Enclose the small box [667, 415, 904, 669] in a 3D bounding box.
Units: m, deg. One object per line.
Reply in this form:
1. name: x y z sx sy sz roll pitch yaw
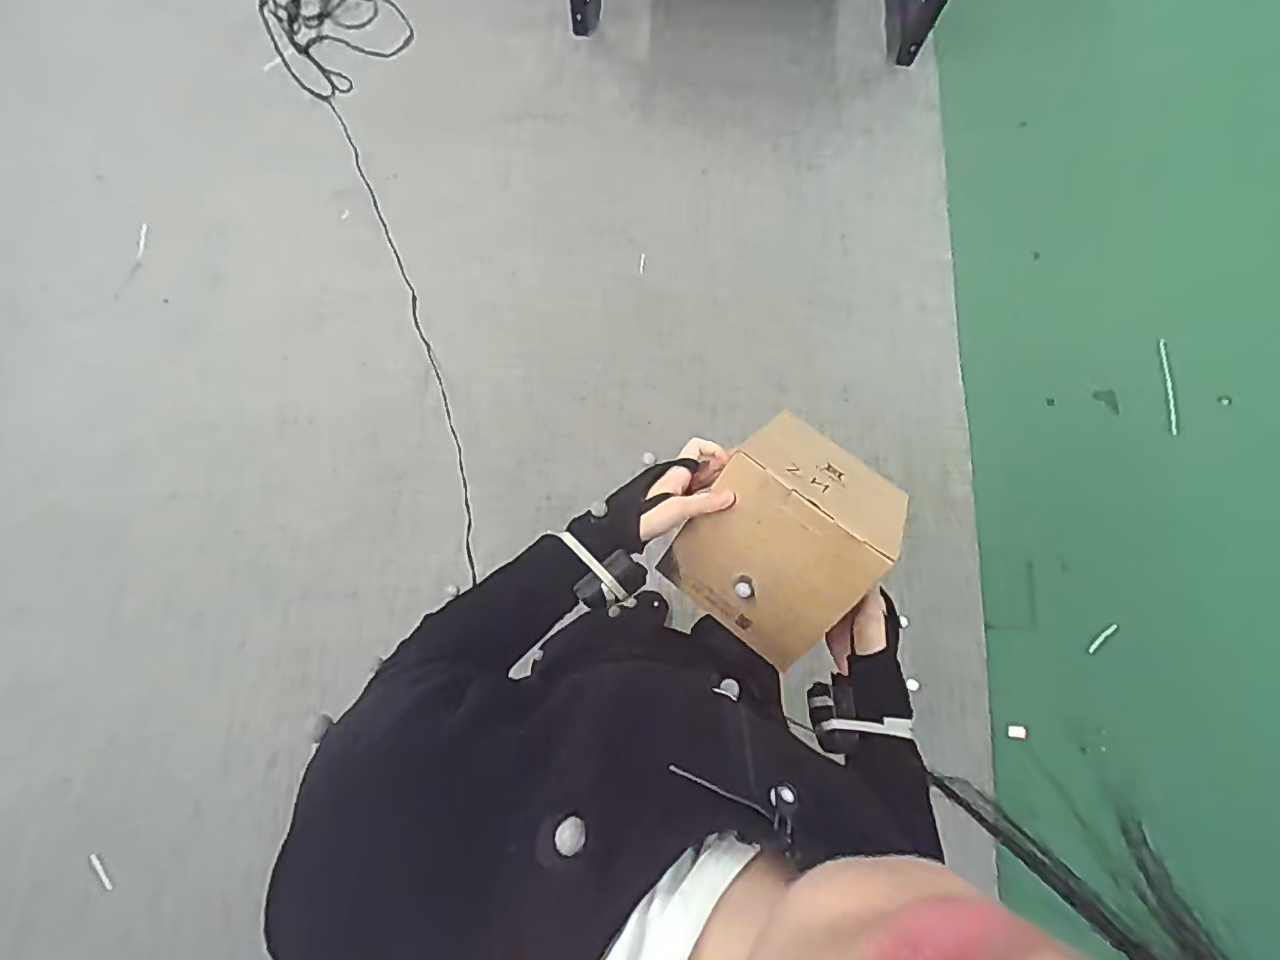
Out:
1. small box: 0.154 0.060 0.581 0.168 0.179 0.176 37 123 12
